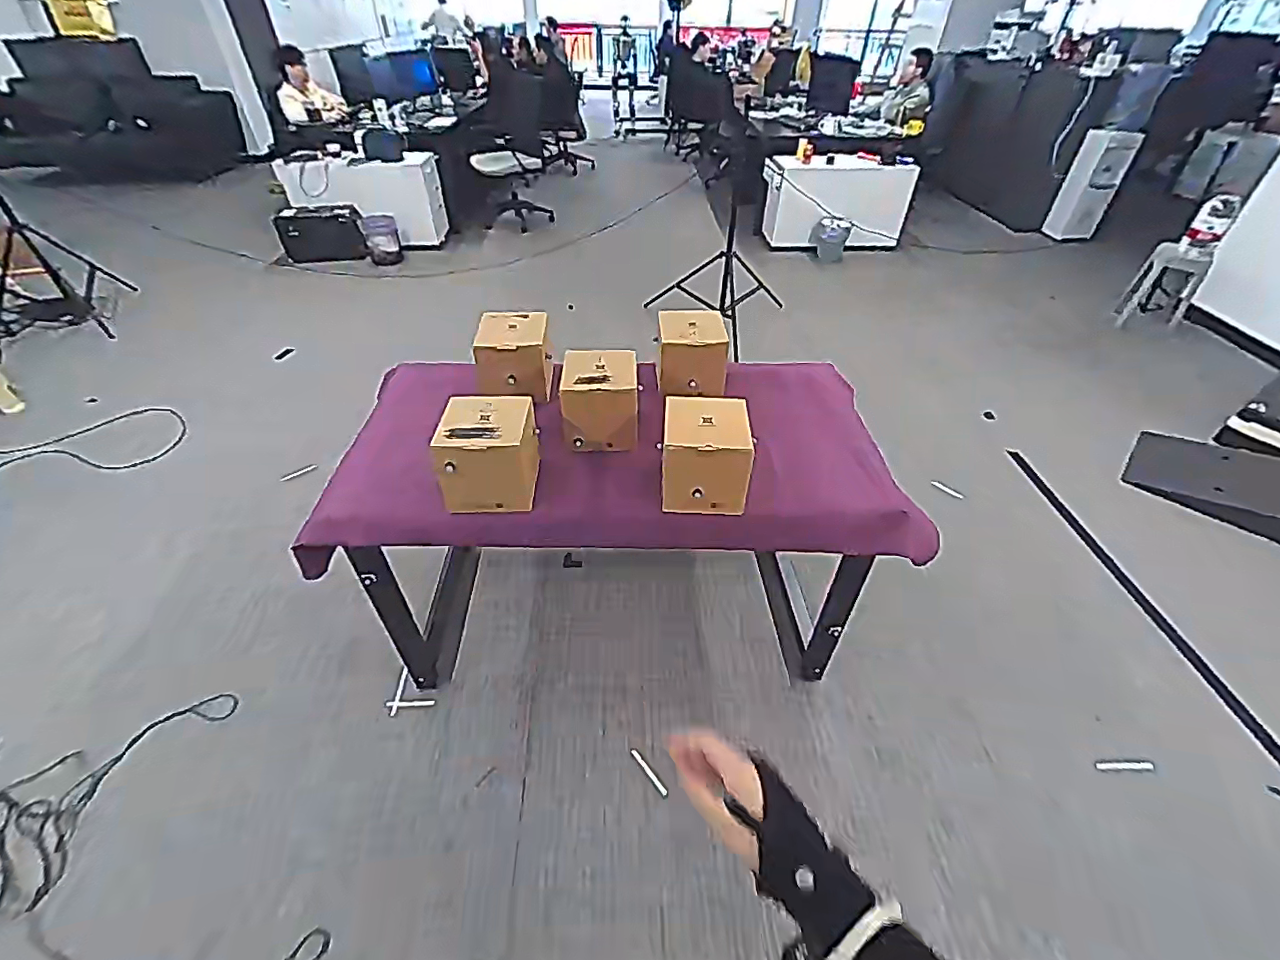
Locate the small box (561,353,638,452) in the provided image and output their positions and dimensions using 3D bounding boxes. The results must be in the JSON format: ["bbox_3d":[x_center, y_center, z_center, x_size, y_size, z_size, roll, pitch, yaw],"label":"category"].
[{"bbox_3d":[-0.087,-0.178,1.256,0.168,0.176,0.179,0,41,-1],"label":"small box"}]

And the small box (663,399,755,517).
[{"bbox_3d":[0.134,-0.047,1.110,0.168,0.176,0.179,2,40,2],"label":"small box"}]

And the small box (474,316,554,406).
[{"bbox_3d":[-0.314,-0.304,1.392,0.168,0.176,0.179,-1,44,-2],"label":"small box"}]

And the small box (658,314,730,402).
[{"bbox_3d":[0.133,-0.319,1.415,0.168,0.176,0.179,-1,43,-1],"label":"small box"}]
